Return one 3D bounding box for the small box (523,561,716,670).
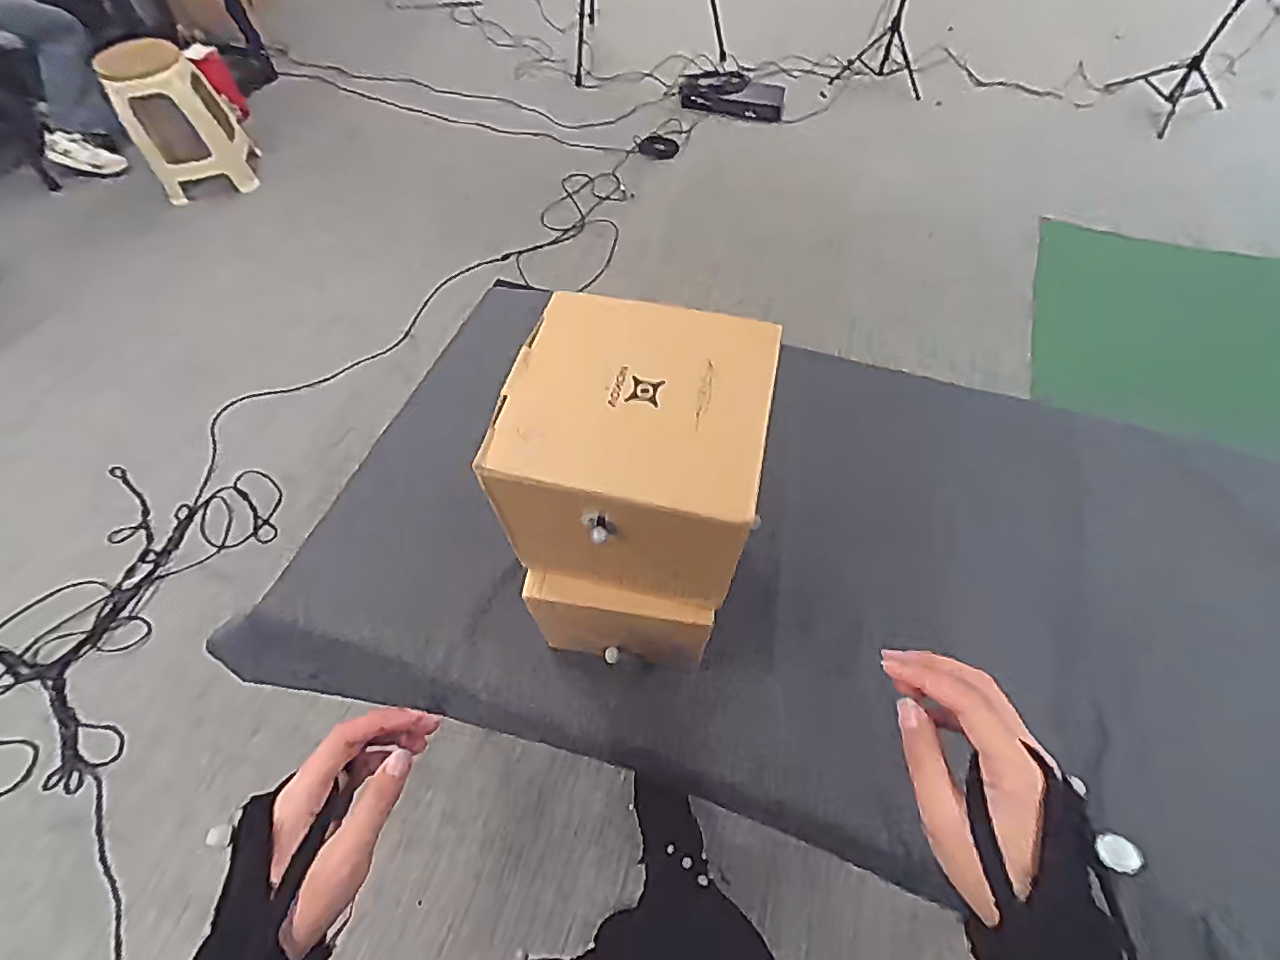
[{"bbox_3d":[-0.006,0.080,0.560,0.168,0.176,0.179,8,60,6],"label":"small box"}]

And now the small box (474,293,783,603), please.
[{"bbox_3d":[0.000,-0.016,0.428,0.179,0.176,0.168,12,61,7],"label":"small box"}]
